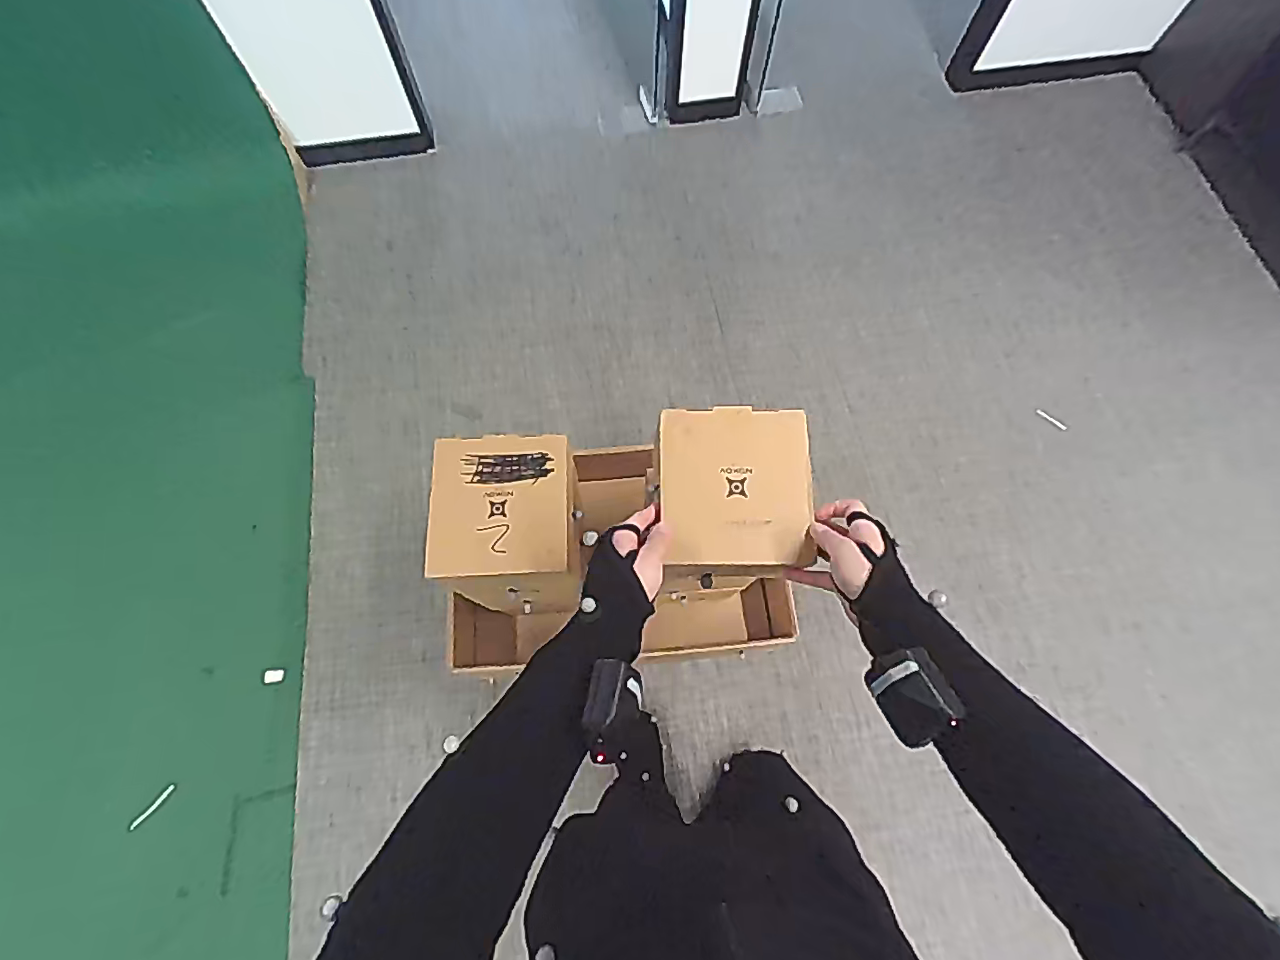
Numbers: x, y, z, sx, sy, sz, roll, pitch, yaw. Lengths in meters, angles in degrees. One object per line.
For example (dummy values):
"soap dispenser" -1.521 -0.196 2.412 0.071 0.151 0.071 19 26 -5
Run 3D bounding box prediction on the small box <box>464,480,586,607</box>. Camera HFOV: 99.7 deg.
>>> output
"small box" -0.177 0.111 0.880 0.168 0.176 0.179 -3 70 -3

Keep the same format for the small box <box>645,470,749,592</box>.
"small box" 0.098 0.087 0.892 0.168 0.176 0.179 -5 69 -2

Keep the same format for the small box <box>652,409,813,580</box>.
"small box" 0.099 0.026 0.662 0.168 0.176 0.179 0 75 0

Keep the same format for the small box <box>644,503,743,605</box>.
"small box" 0.096 0.144 1.046 0.168 0.176 0.179 -4 70 -1
